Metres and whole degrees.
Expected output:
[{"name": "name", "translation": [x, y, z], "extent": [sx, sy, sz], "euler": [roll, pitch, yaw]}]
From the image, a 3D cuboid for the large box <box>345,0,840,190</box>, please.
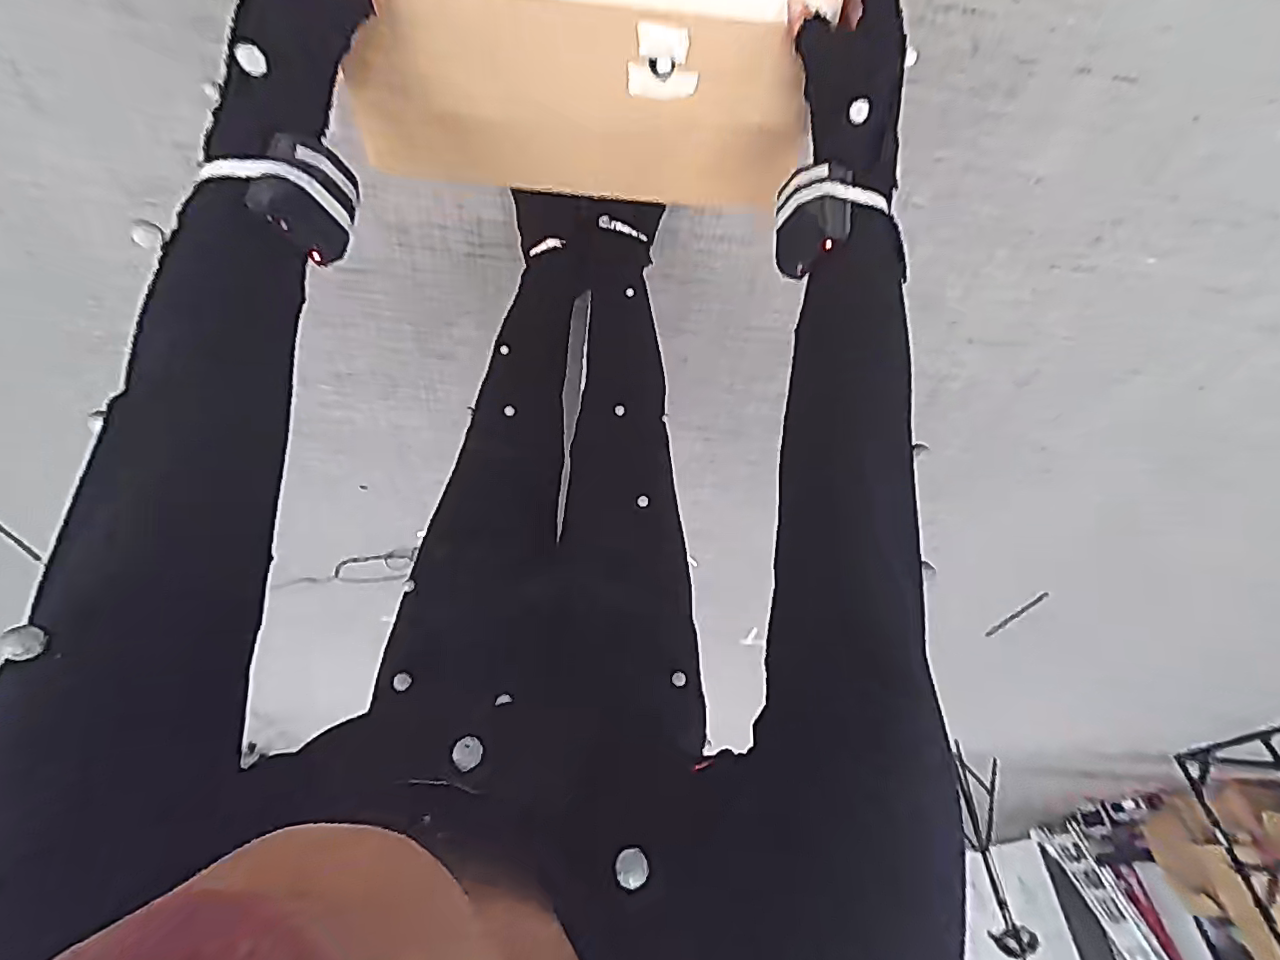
[{"name": "large box", "translation": [-0.037, -0.509, 0.515], "extent": [0.408, 0.320, 0.320], "euler": [3, 139, -3]}]
